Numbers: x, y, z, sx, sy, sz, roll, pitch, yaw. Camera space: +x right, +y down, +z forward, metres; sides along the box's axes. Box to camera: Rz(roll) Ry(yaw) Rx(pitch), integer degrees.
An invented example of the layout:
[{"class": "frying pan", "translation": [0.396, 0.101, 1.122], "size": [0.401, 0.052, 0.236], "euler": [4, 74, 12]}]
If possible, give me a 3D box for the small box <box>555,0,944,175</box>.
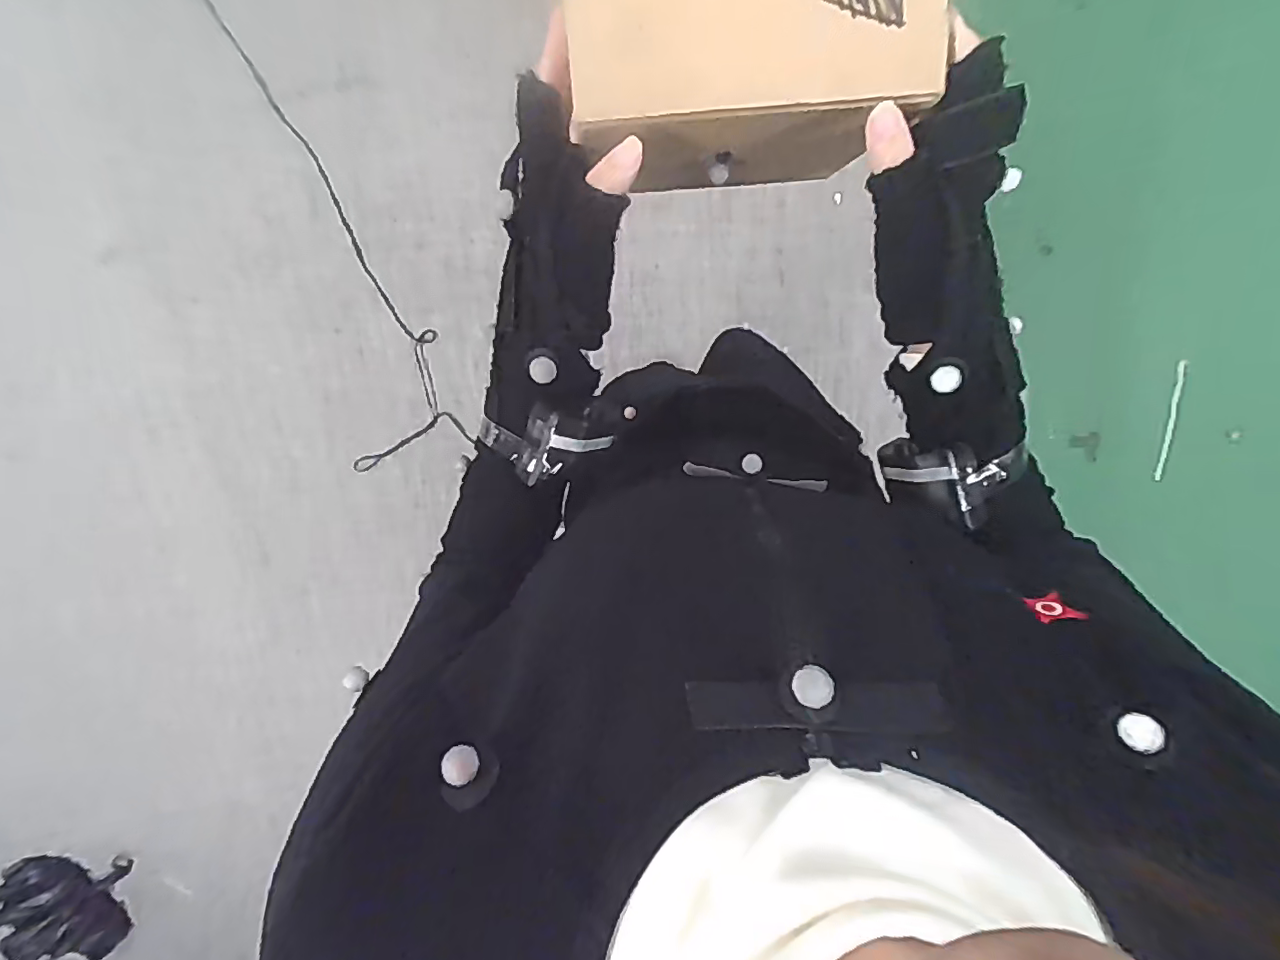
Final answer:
[{"class": "small box", "translation": [0.046, -0.283, 0.301], "size": [0.179, 0.176, 0.168], "euler": [-4, 108, 3]}]
